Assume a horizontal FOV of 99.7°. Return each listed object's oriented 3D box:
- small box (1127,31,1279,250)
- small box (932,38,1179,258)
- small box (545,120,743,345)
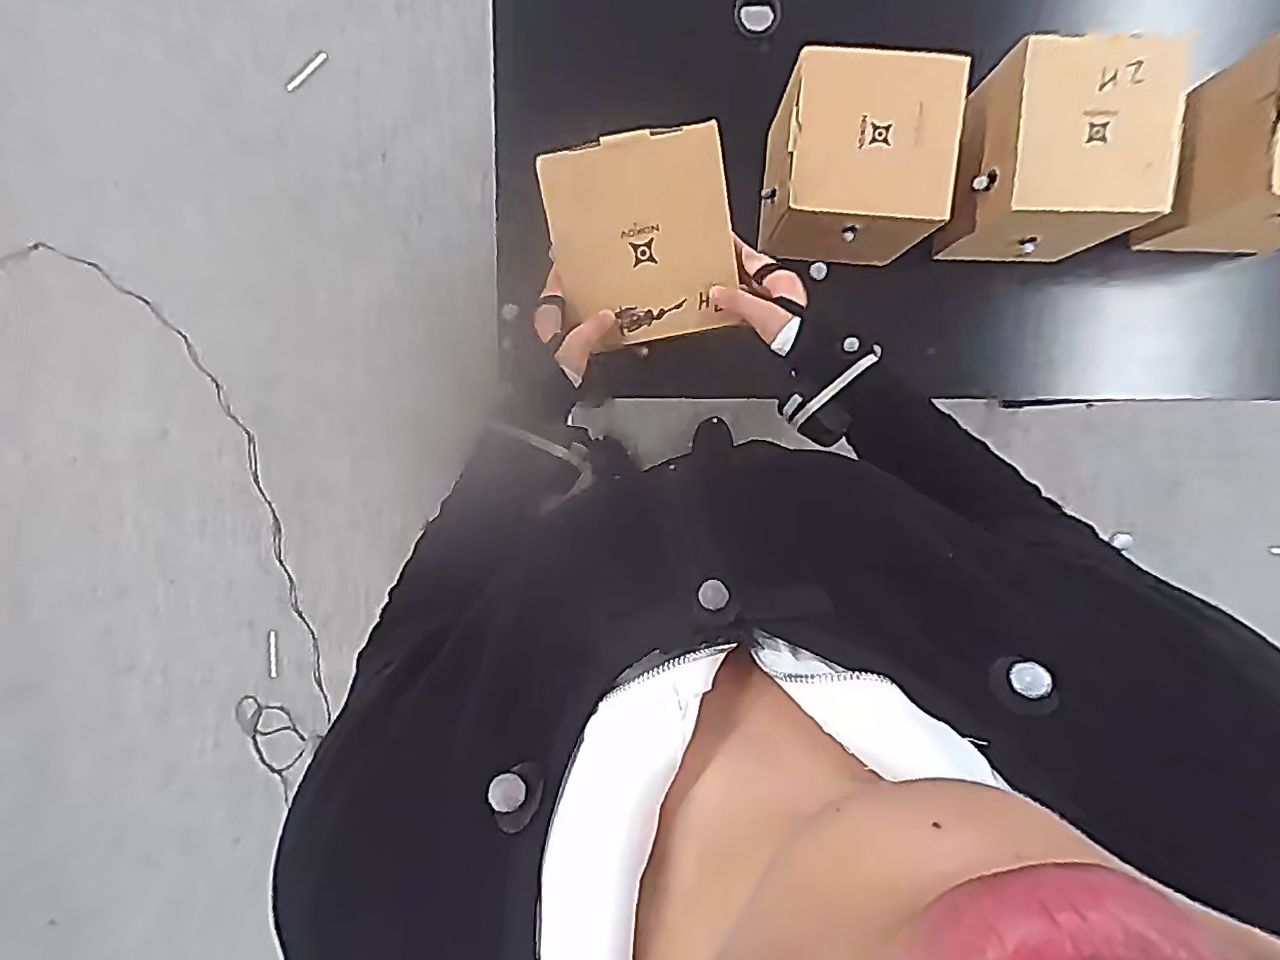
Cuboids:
[{"bbox_3d":[0.737,-0.384,0.640,0.179,0.176,0.168,3,95,1],"label":"small box"},{"bbox_3d":[0.476,-0.379,0.649,0.168,0.176,0.179,2,95,1],"label":"small box"},{"bbox_3d":[0.006,-0.244,0.578,0.168,0.176,0.179,-9,105,3],"label":"small box"}]
